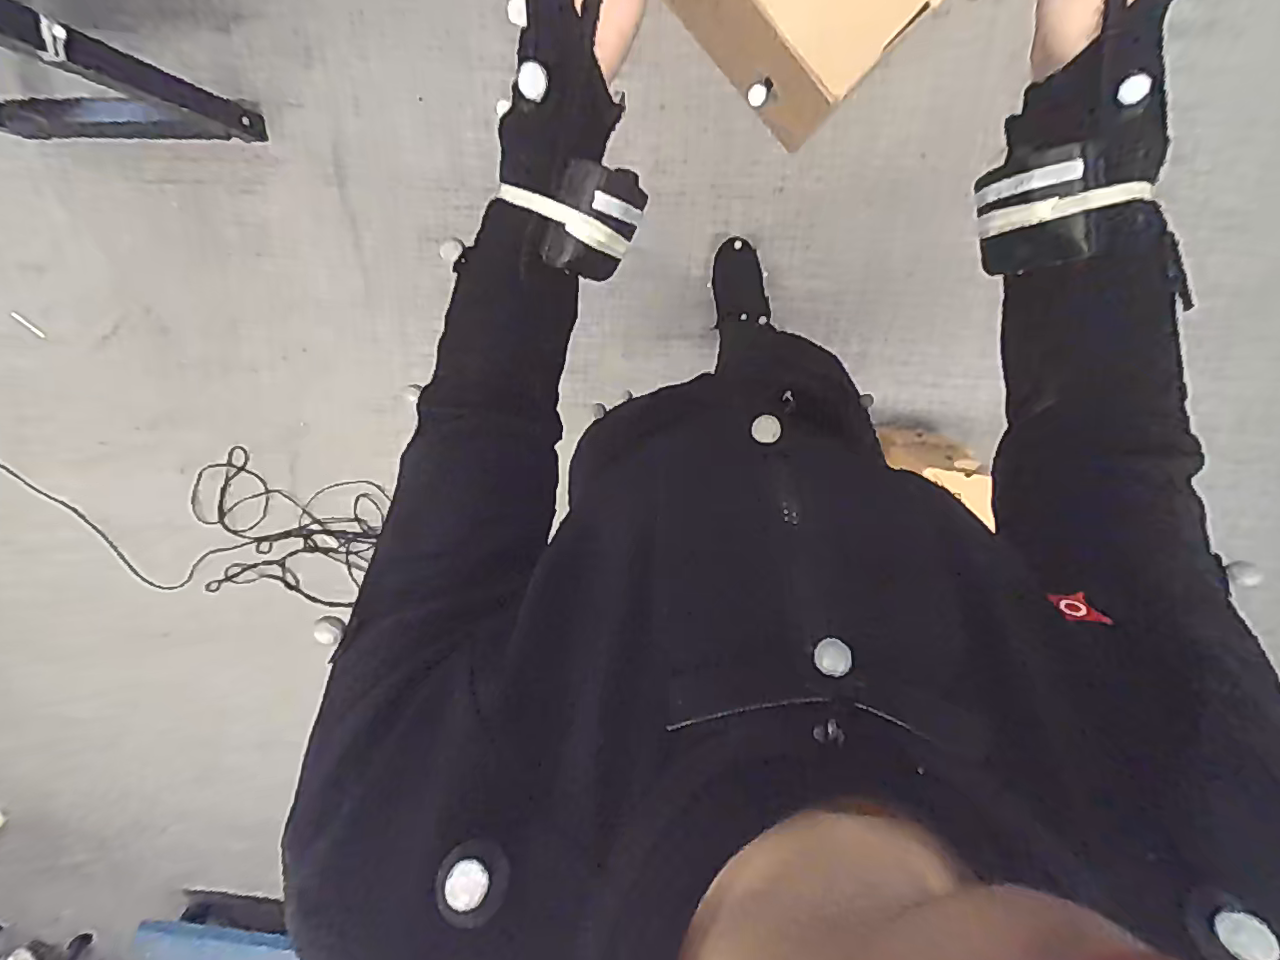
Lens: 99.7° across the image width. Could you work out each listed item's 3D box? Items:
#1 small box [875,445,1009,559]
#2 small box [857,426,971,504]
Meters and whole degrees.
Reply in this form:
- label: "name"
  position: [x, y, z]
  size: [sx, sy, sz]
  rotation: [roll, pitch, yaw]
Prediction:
- label: "small box"
  position: [0.603, 0.038, 1.107]
  size: [0.168, 0.176, 0.179]
  rotation: [7, 107, 2]
- label: "small box"
  position: [0.625, -0.023, 1.258]
  size: [0.168, 0.176, 0.179]
  rotation: [6, 107, 1]
